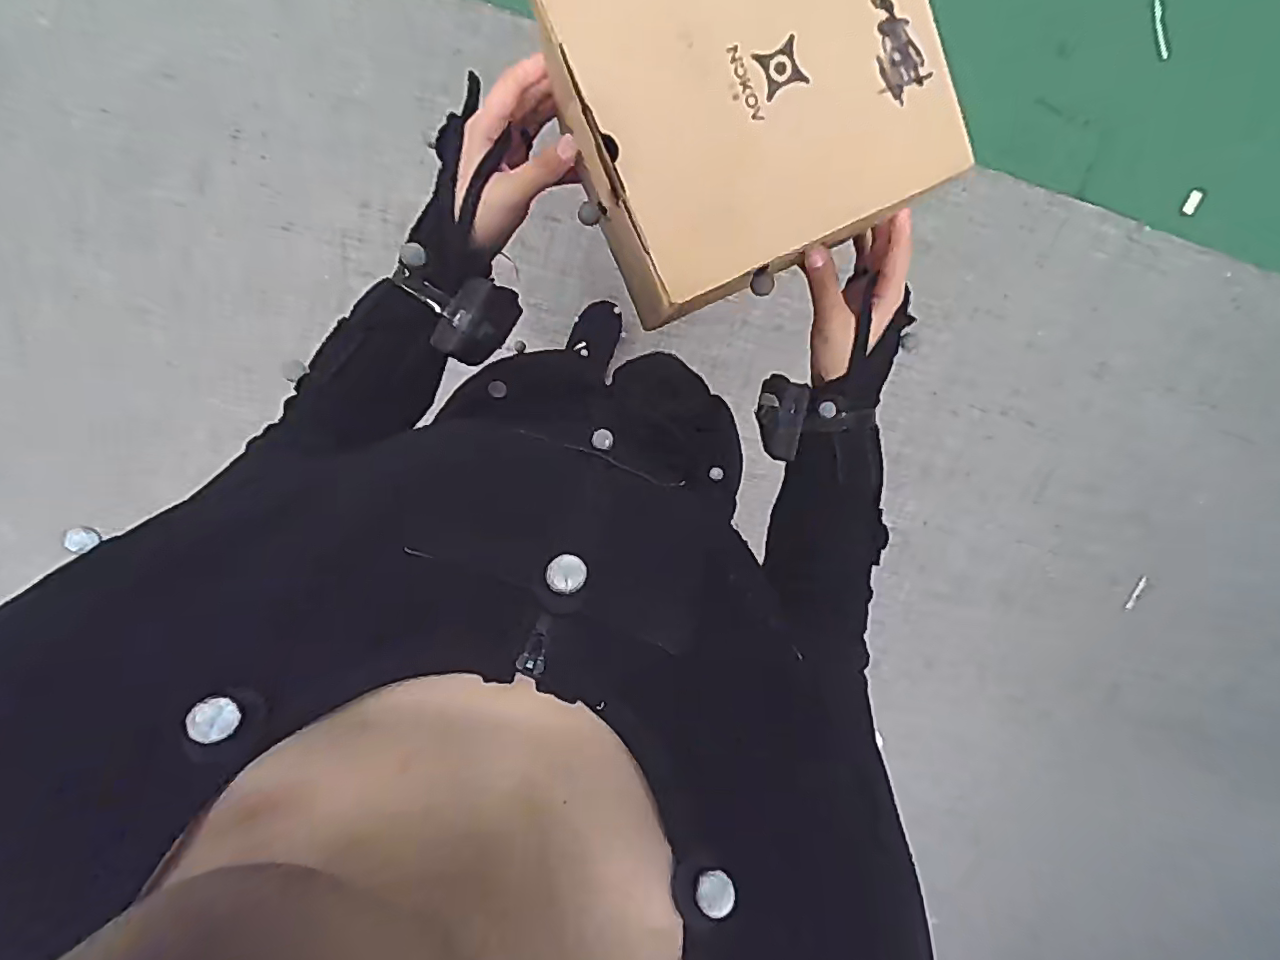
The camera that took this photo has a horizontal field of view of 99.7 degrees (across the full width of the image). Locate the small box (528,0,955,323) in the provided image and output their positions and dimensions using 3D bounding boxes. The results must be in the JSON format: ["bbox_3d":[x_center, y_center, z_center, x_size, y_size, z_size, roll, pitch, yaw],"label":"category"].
[{"bbox_3d":[0.052,-0.216,0.351,0.179,0.176,0.168,-24,101,2],"label":"small box"}]
